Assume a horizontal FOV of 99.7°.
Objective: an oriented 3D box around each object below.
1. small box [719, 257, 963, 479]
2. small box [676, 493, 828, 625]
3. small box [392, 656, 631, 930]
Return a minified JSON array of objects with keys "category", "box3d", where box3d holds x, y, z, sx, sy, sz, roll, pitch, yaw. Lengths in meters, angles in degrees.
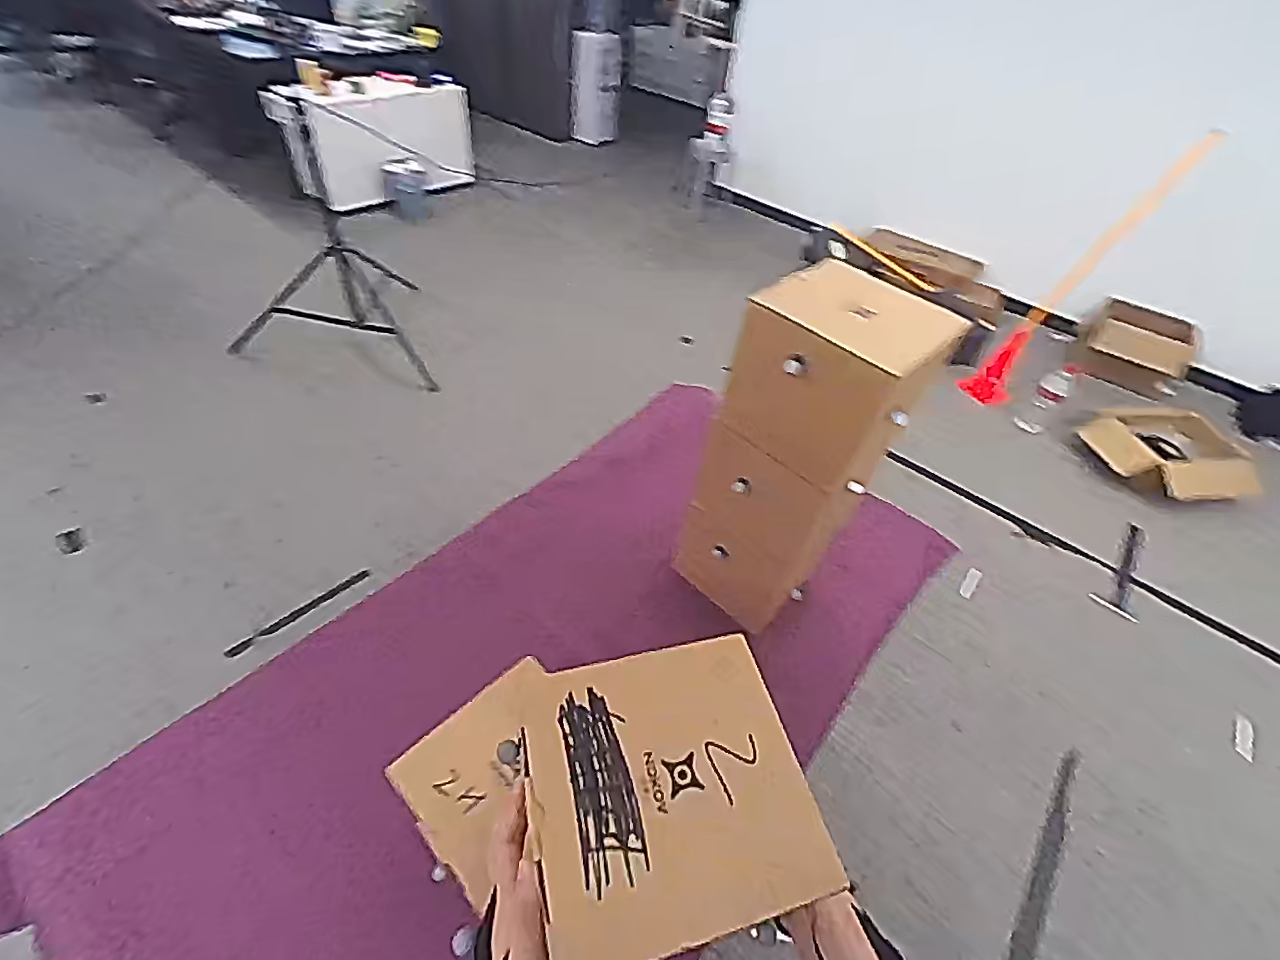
[{"category":"small box","box3d":[0.217,-0.123,0.622,0.168,0.176,0.179,-33,58,-32]},{"category":"small box","box3d":[0.176,0.096,0.862,0.179,0.176,0.168,37,53,25]},{"category":"small box","box3d":[-0.133,0.337,0.589,0.168,0.176,0.179,37,53,26]}]
